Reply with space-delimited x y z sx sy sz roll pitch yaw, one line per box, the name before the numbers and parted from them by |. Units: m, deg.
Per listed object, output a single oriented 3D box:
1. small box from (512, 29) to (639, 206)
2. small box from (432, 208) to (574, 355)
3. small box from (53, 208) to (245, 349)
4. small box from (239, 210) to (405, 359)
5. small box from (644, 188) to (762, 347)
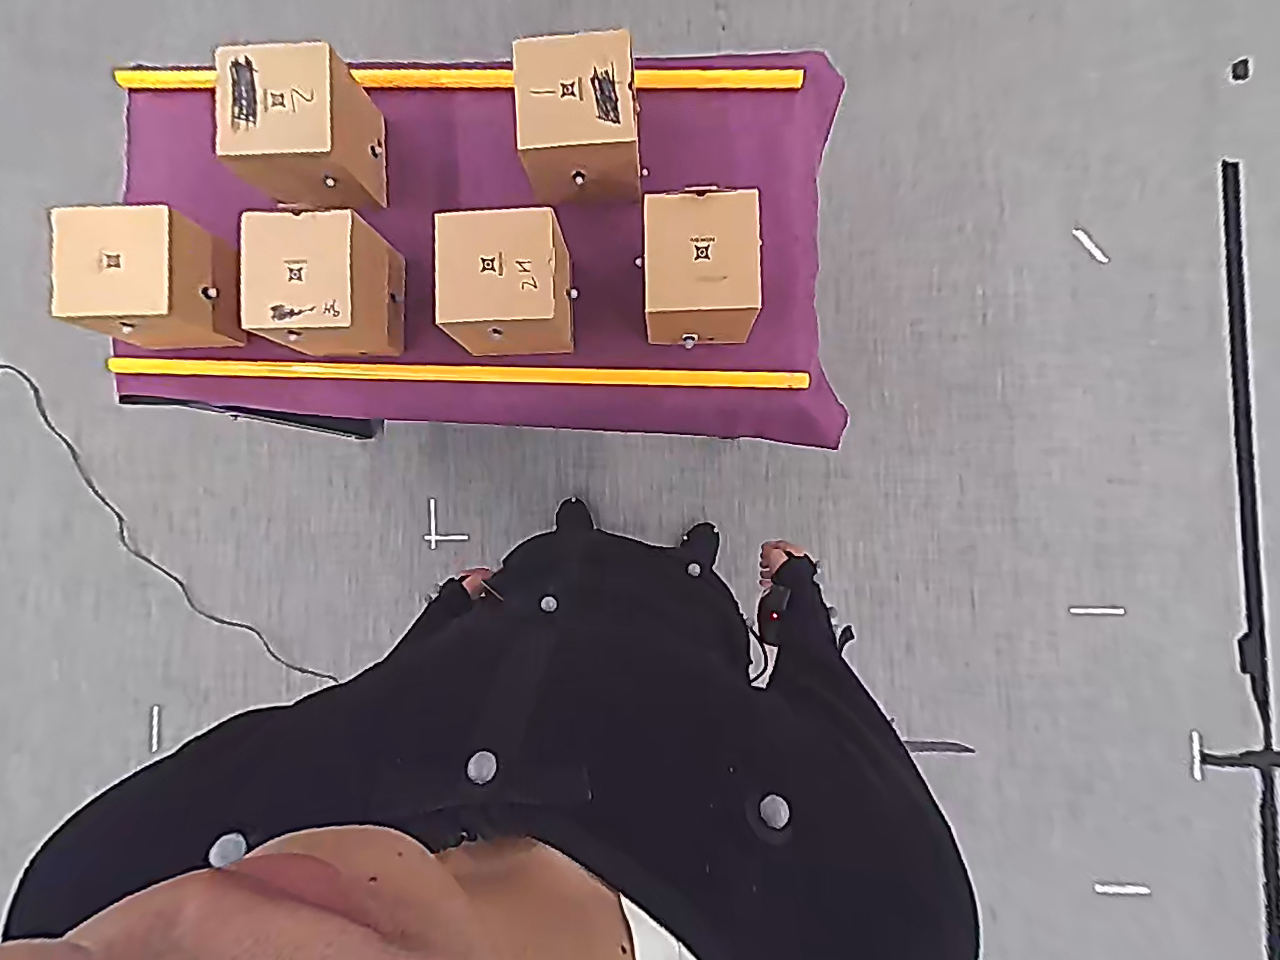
small box | -0.091 -0.557 0.852 0.179 0.176 0.168 -3 89 3
small box | -0.206 -0.300 0.848 0.179 0.176 0.168 -1 87 3
small box | -0.772 -0.315 0.872 0.179 0.176 0.168 -1 88 1
small box | -0.492 -0.301 0.860 0.168 0.176 0.179 0 88 4
small box | 0.091 -0.318 0.836 0.168 0.176 0.179 -1 86 4
